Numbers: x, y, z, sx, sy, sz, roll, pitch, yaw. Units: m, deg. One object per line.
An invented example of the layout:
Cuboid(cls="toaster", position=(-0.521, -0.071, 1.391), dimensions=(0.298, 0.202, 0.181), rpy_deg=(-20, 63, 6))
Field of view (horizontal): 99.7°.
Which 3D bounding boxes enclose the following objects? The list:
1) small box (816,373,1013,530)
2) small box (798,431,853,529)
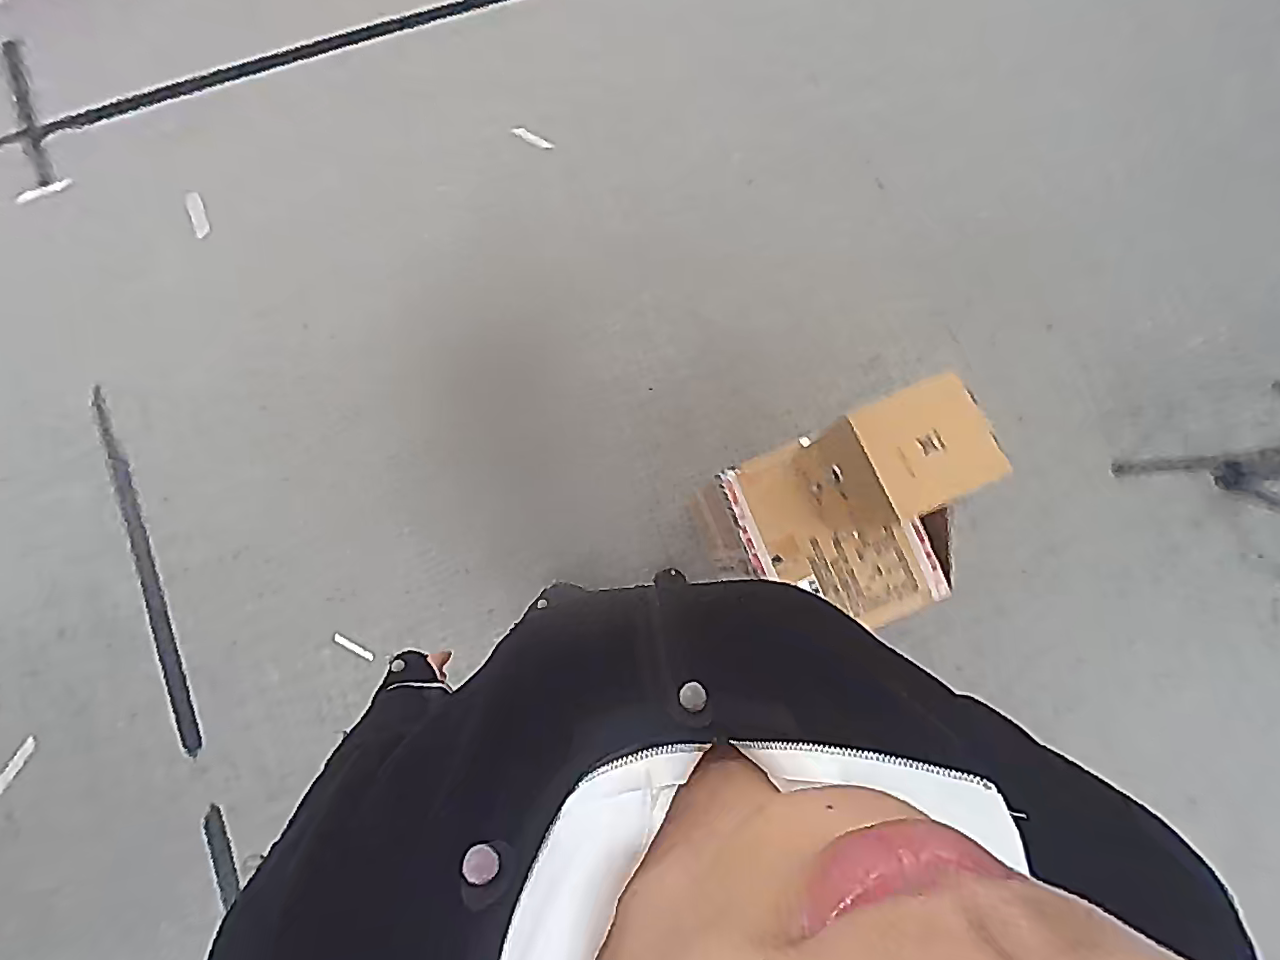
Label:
Cuboid(cls="small box", position=(0.398, -0.033, 0.818), dimensions=(0.179, 0.176, 0.168), rpy_deg=(-23, 81, -2))
Cuboid(cls="small box", position=(0.416, -0.020, 0.980), dimensions=(0.179, 0.176, 0.168), rpy_deg=(-22, 81, -3))
